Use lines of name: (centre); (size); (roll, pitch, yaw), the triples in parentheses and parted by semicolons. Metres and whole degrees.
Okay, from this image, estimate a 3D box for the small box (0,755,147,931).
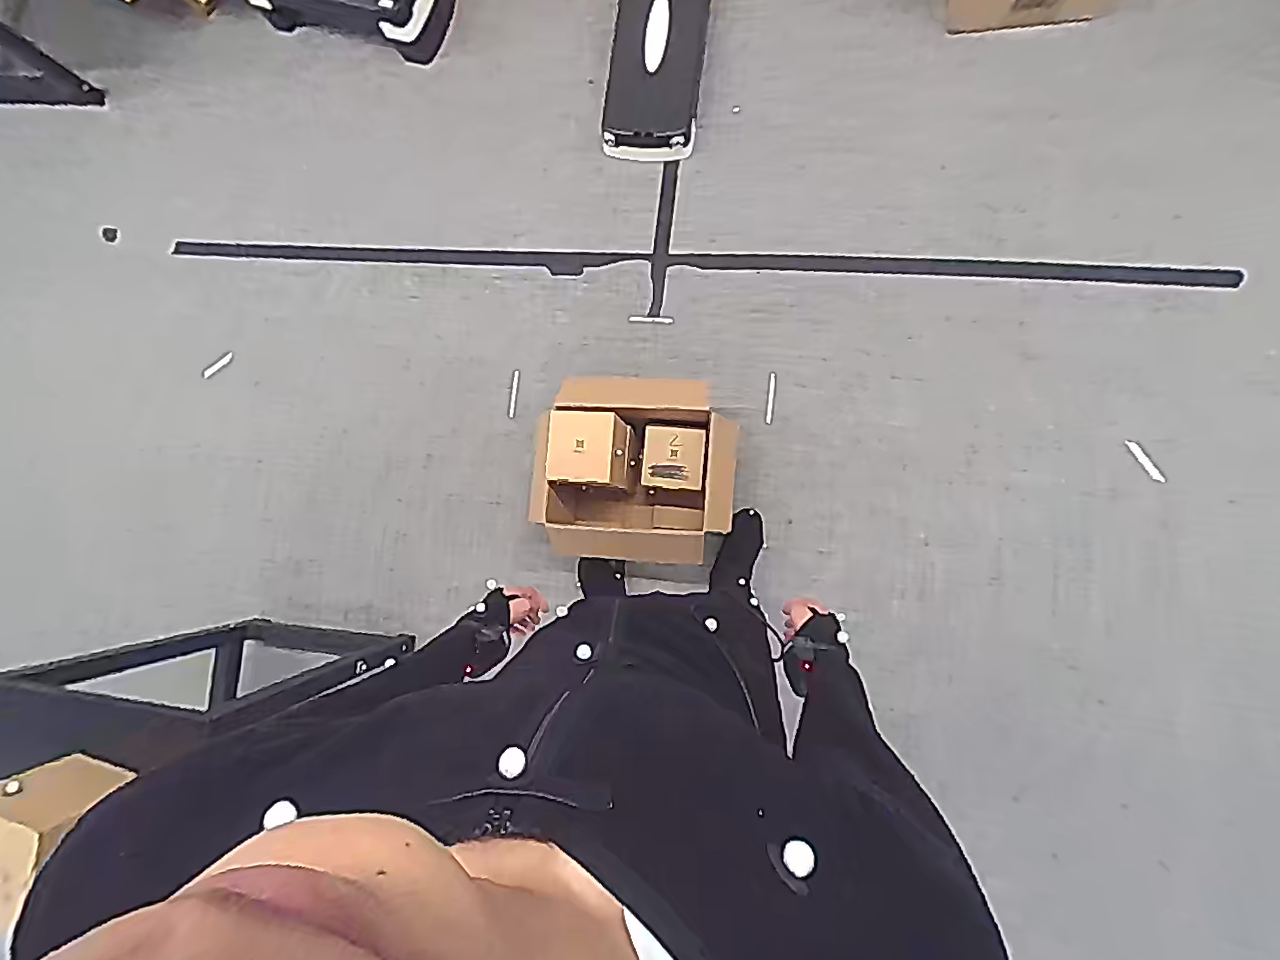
small box: (-1.012, 0.600, 0.922); (0.179, 0.176, 0.168); (13, 89, 9)
